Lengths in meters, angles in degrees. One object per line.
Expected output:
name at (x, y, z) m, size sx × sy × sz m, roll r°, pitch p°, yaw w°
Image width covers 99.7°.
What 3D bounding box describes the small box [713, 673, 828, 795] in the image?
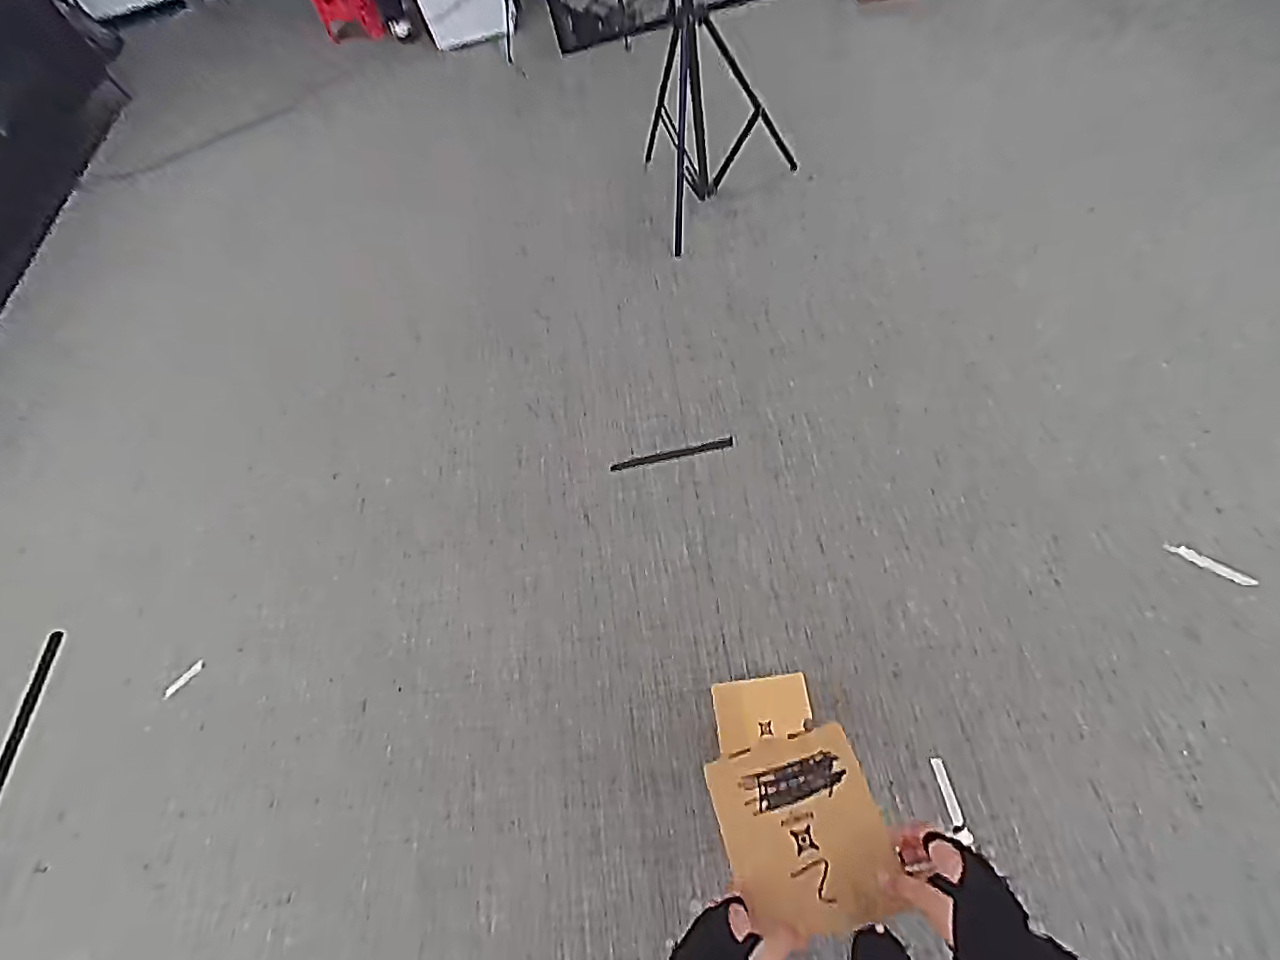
small box at (0.228, 0.464, 0.984) m, size 0.168 × 0.176 × 0.179 m, roll -10°, pitch 61°, yaw 6°
